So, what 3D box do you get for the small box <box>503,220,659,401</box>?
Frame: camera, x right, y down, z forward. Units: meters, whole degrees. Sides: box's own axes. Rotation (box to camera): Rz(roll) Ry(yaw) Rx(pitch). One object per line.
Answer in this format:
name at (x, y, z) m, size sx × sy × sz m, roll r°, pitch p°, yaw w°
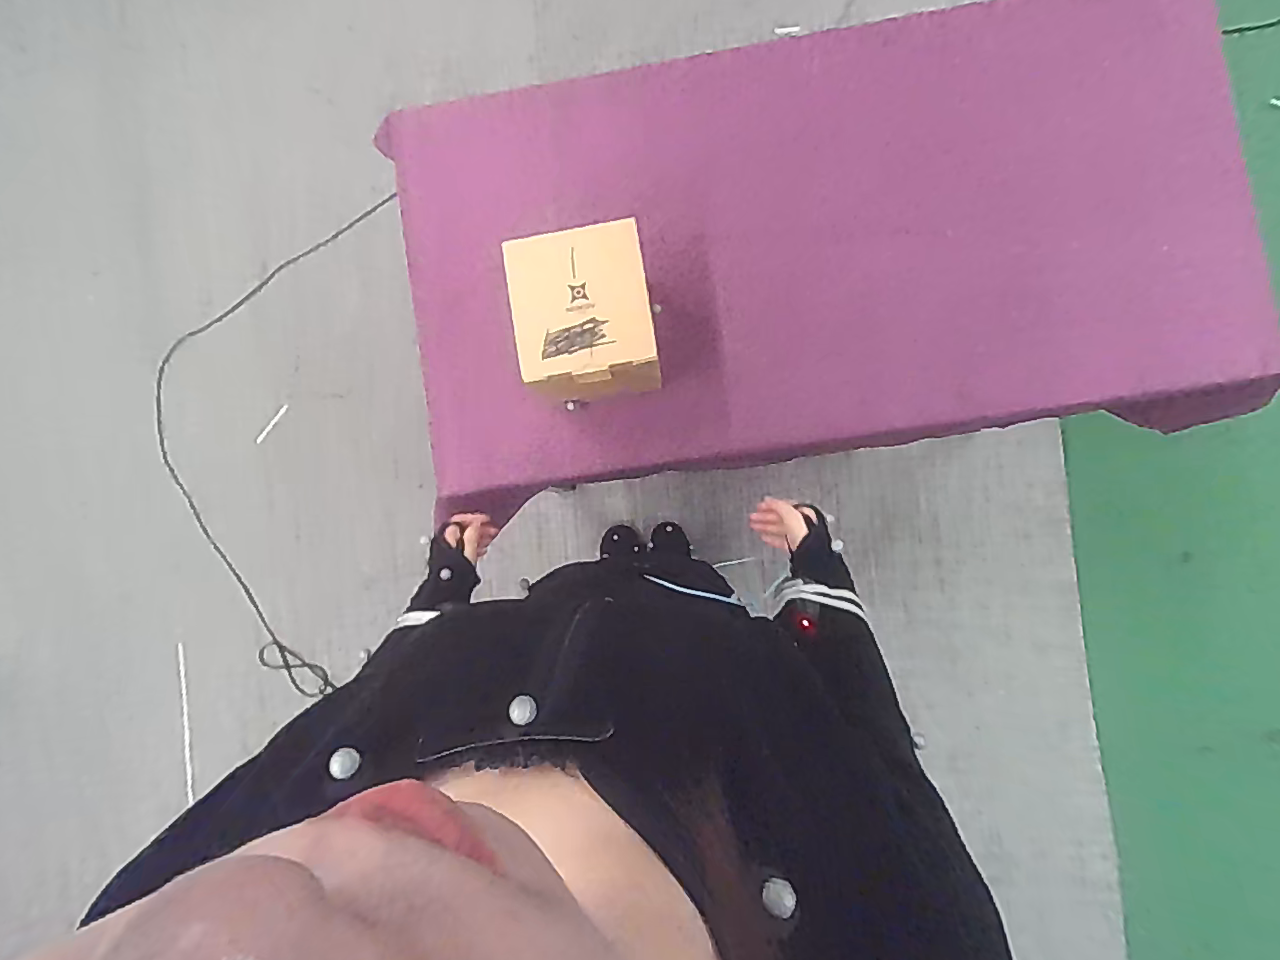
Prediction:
small box at (-0.068, -0.209, 0.721) m, size 0.168 × 0.176 × 0.179 m, roll -9°, pitch 86°, yaw 3°
